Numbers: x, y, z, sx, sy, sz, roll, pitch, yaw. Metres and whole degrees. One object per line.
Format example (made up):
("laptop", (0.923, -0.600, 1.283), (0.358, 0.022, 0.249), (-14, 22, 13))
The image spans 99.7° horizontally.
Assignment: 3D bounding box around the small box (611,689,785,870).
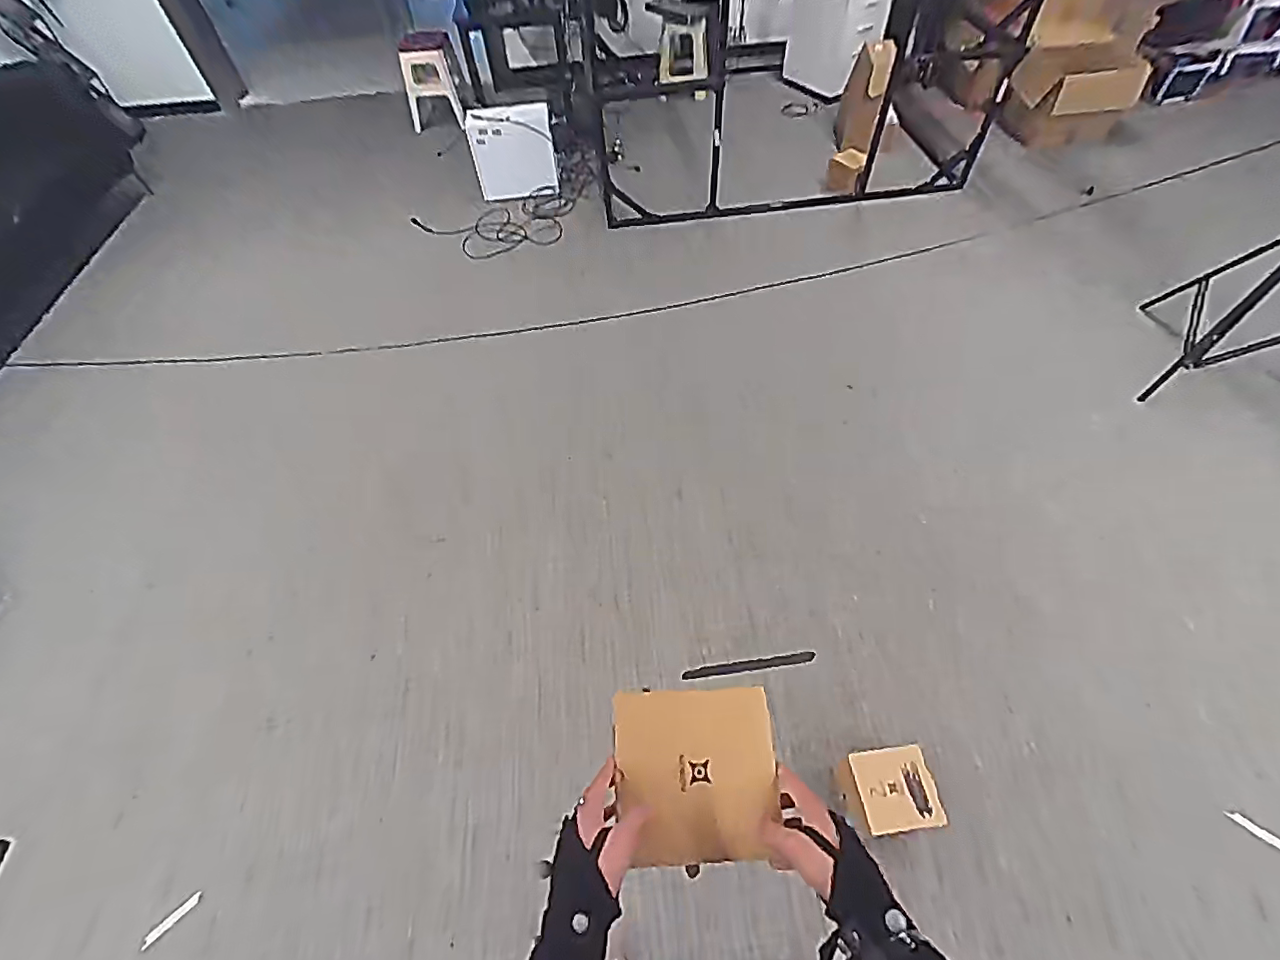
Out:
("small box", (0.056, 0.345, 0.648), (0.179, 0.176, 0.168), (-3, 65, -1))
